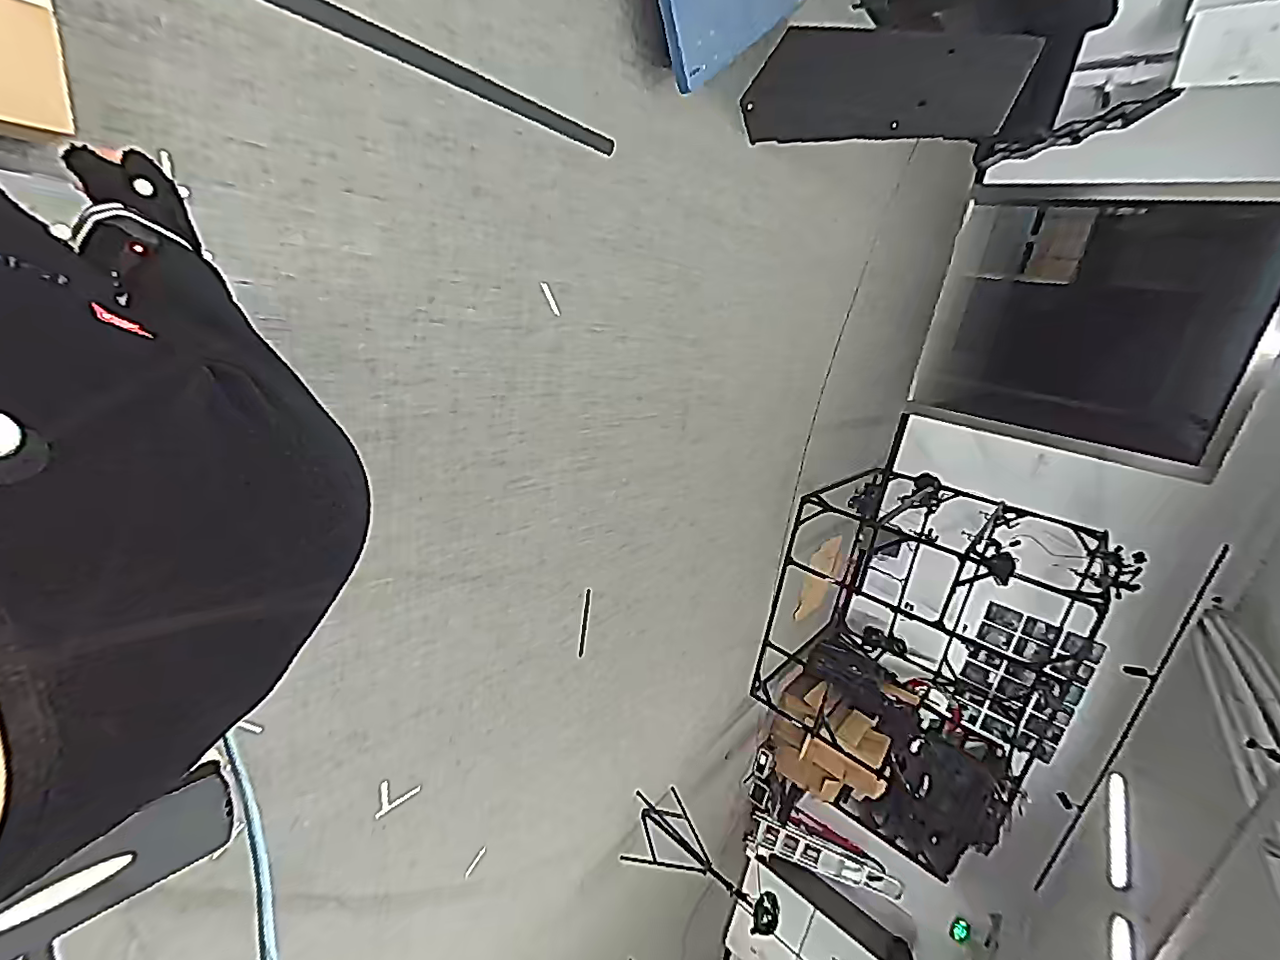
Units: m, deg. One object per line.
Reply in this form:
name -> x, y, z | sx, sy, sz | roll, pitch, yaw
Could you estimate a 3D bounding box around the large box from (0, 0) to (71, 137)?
large box -> -1.031, -0.649, 0.652 | 0.408, 0.320, 0.320 | -16, 122, -50
